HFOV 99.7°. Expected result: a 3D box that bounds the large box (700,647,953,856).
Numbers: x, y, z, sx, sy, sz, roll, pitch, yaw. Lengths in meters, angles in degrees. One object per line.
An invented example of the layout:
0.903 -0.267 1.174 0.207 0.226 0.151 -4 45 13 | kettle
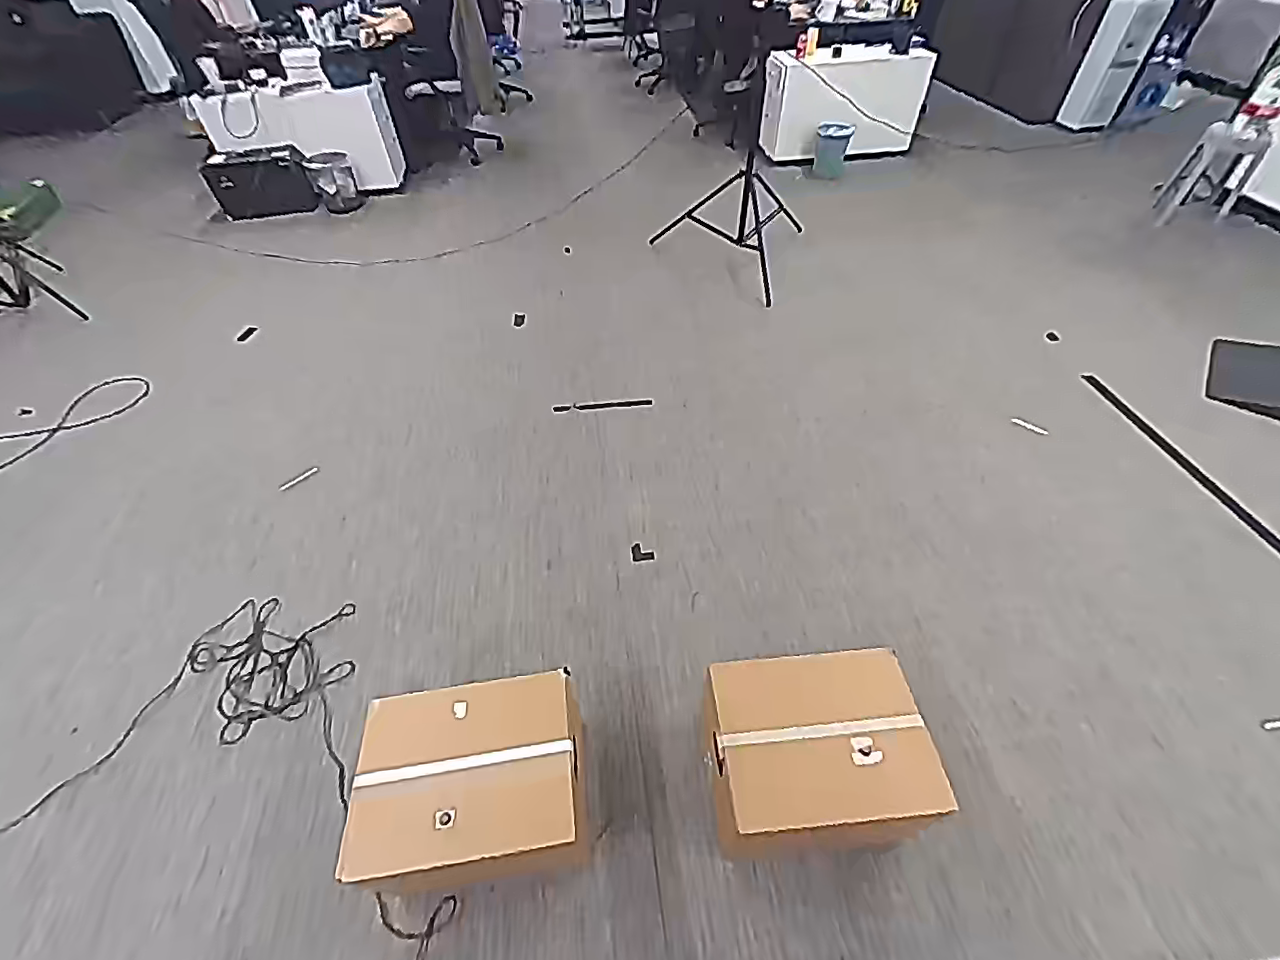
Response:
0.363 0.594 1.180 0.408 0.320 0.320 -4 48 -3 | large box
